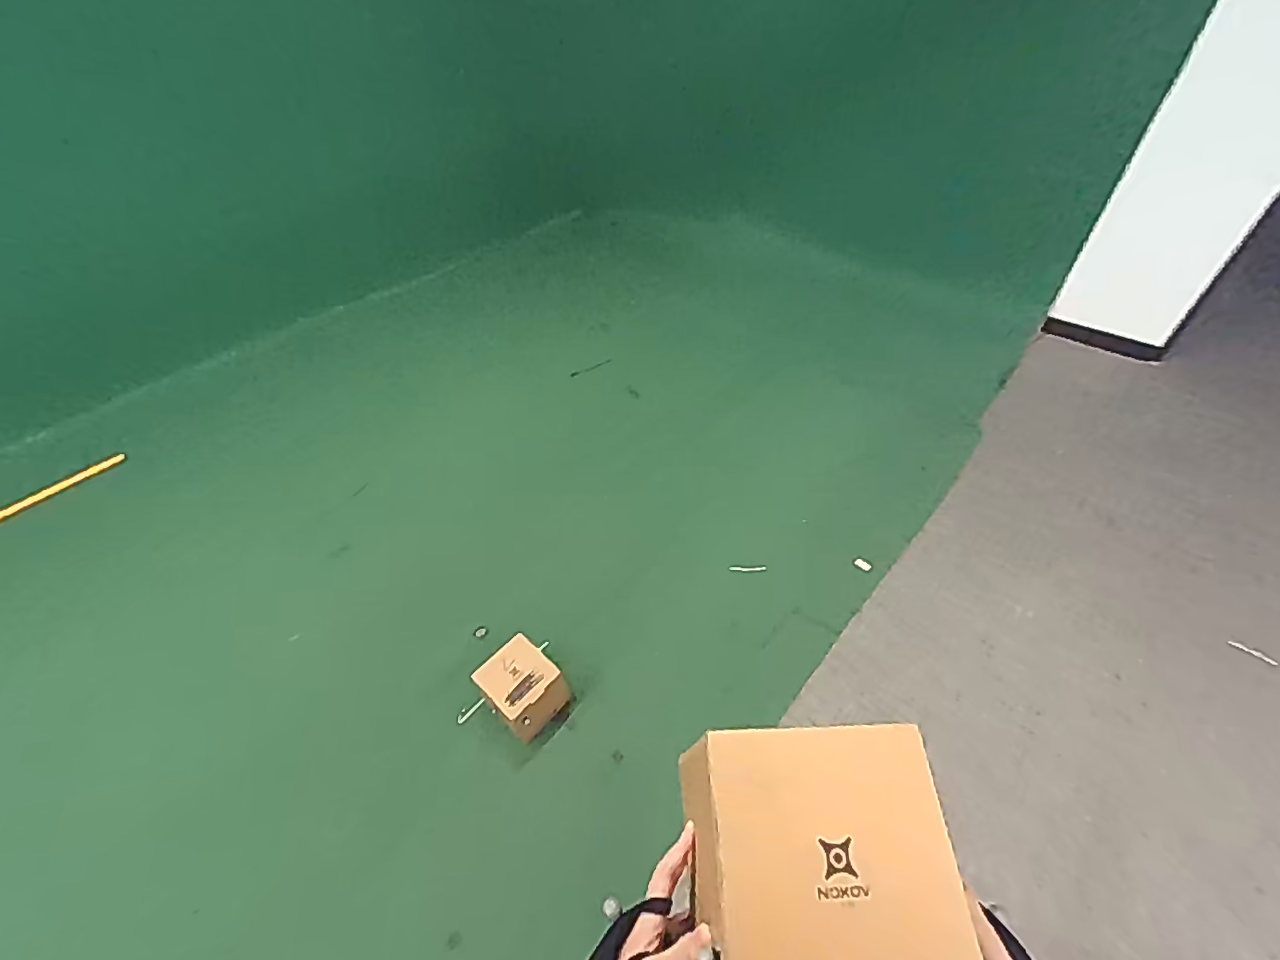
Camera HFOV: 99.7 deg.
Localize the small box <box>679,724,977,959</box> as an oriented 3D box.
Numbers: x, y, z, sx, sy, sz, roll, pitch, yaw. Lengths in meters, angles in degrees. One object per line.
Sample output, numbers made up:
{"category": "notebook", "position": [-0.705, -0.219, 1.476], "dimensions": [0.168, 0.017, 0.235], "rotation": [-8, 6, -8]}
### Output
{"category": "small box", "position": [0.127, 0.307, 0.436], "dimensions": [0.168, 0.176, 0.179], "rotation": [-2, 59, -4]}
